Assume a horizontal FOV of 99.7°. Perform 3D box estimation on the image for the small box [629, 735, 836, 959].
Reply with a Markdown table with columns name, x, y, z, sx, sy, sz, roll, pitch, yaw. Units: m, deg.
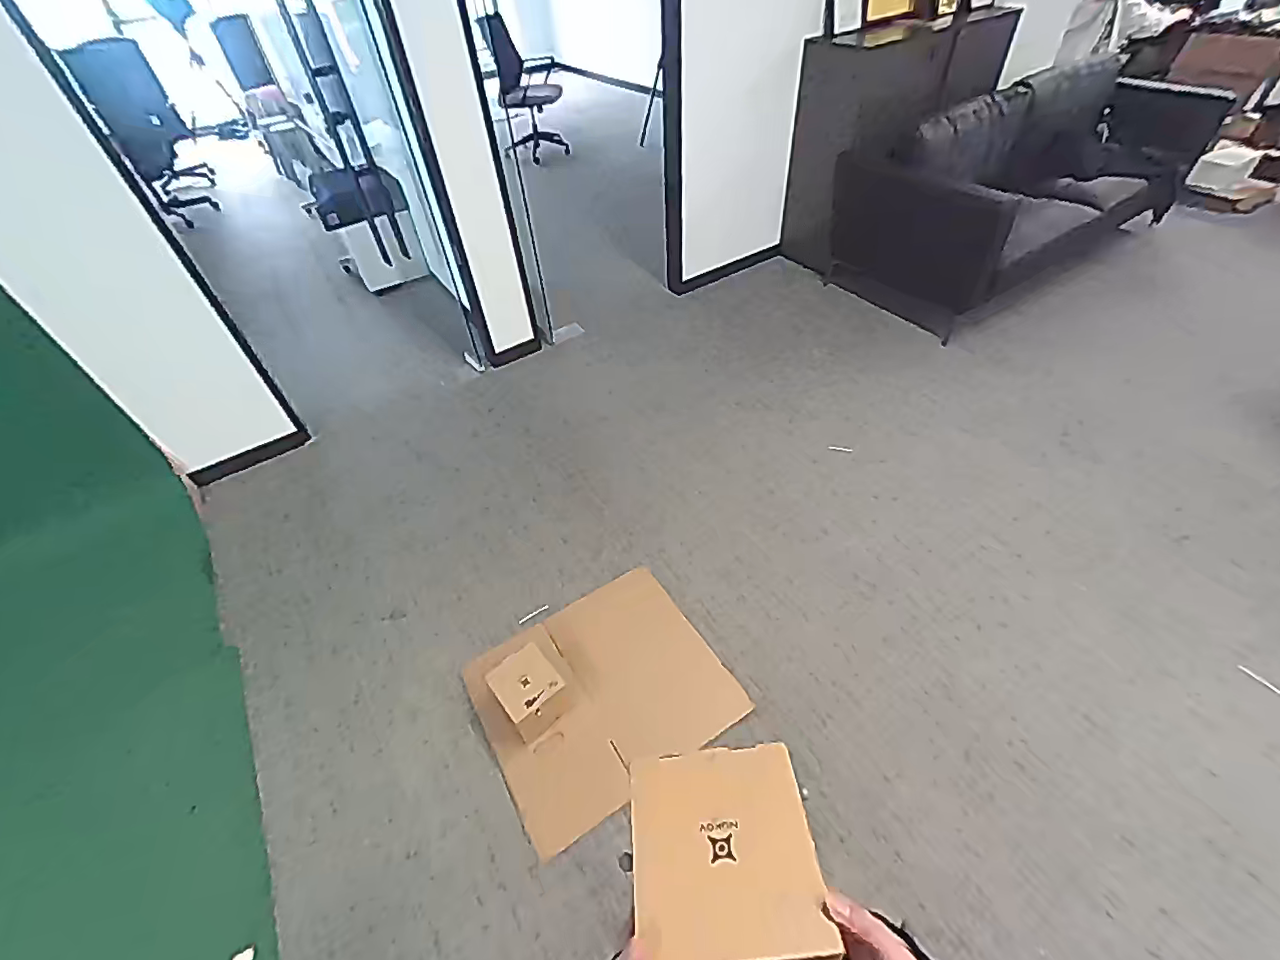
| name | x | y | z | sx | sy | sz | roll | pitch | yaw |
| --- | --- | --- | --- | --- | --- | --- | --- | --- | --- |
| small box | 0.083 | 0.389 | 0.537 | 0.168 | 0.176 | 0.179 | -8 | 33 | 2 |

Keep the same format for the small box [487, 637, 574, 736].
| name | x | y | z | sx | sy | sz | roll | pitch | yaw |
| --- | --- | --- | --- | --- | --- | --- | --- | --- | --- |
| small box | -0.308 | 0.595 | 1.550 | 0.168 | 0.176 | 0.179 | -33 | 53 | -24 |
